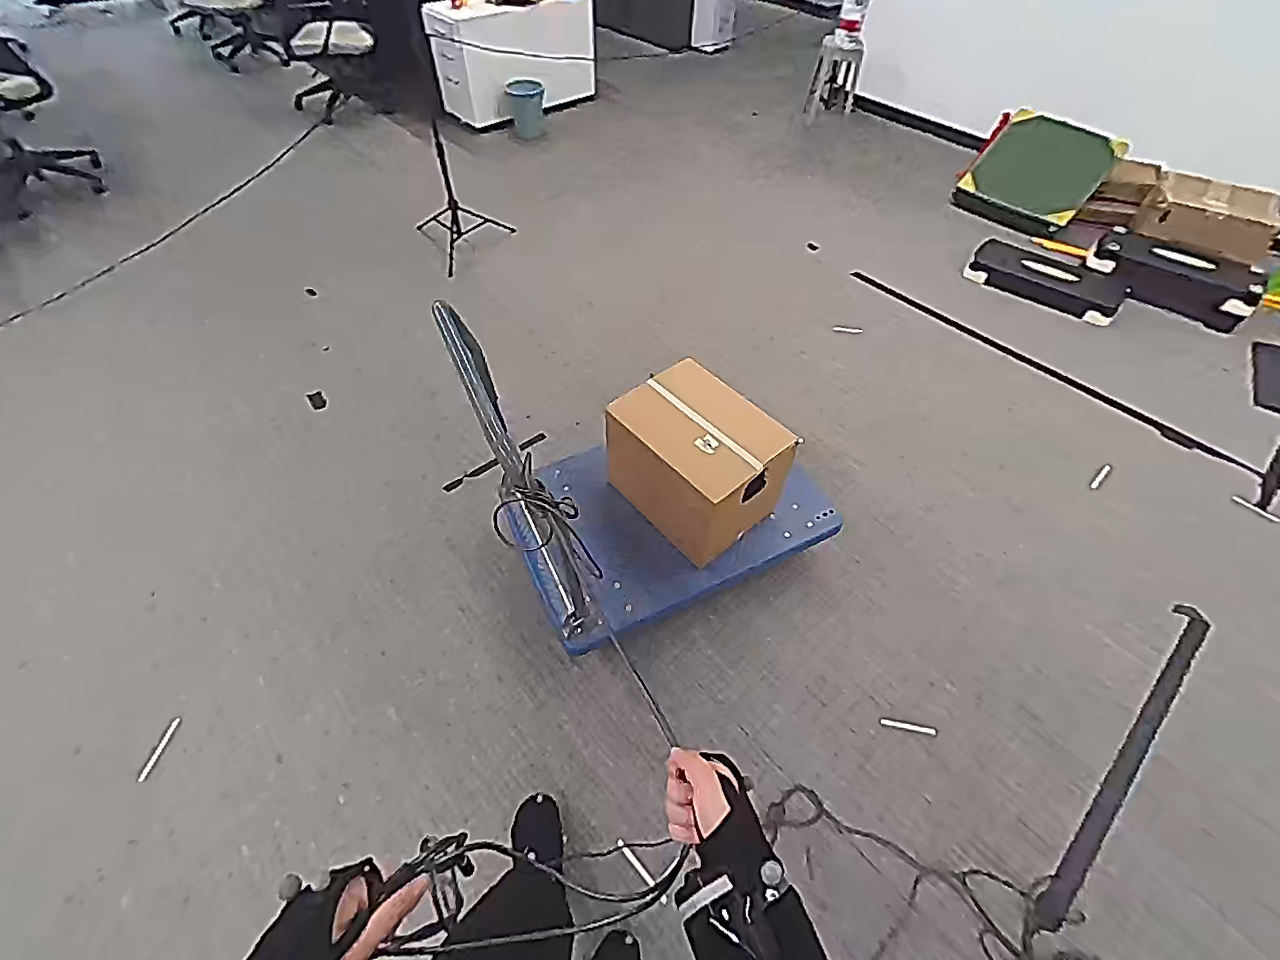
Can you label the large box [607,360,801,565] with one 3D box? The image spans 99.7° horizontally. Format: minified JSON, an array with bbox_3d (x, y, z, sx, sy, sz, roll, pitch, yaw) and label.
[{"bbox_3d":[0.150,-0.050,1.479,0.320,0.320,0.408,-35,62,-24],"label":"large box"}]
